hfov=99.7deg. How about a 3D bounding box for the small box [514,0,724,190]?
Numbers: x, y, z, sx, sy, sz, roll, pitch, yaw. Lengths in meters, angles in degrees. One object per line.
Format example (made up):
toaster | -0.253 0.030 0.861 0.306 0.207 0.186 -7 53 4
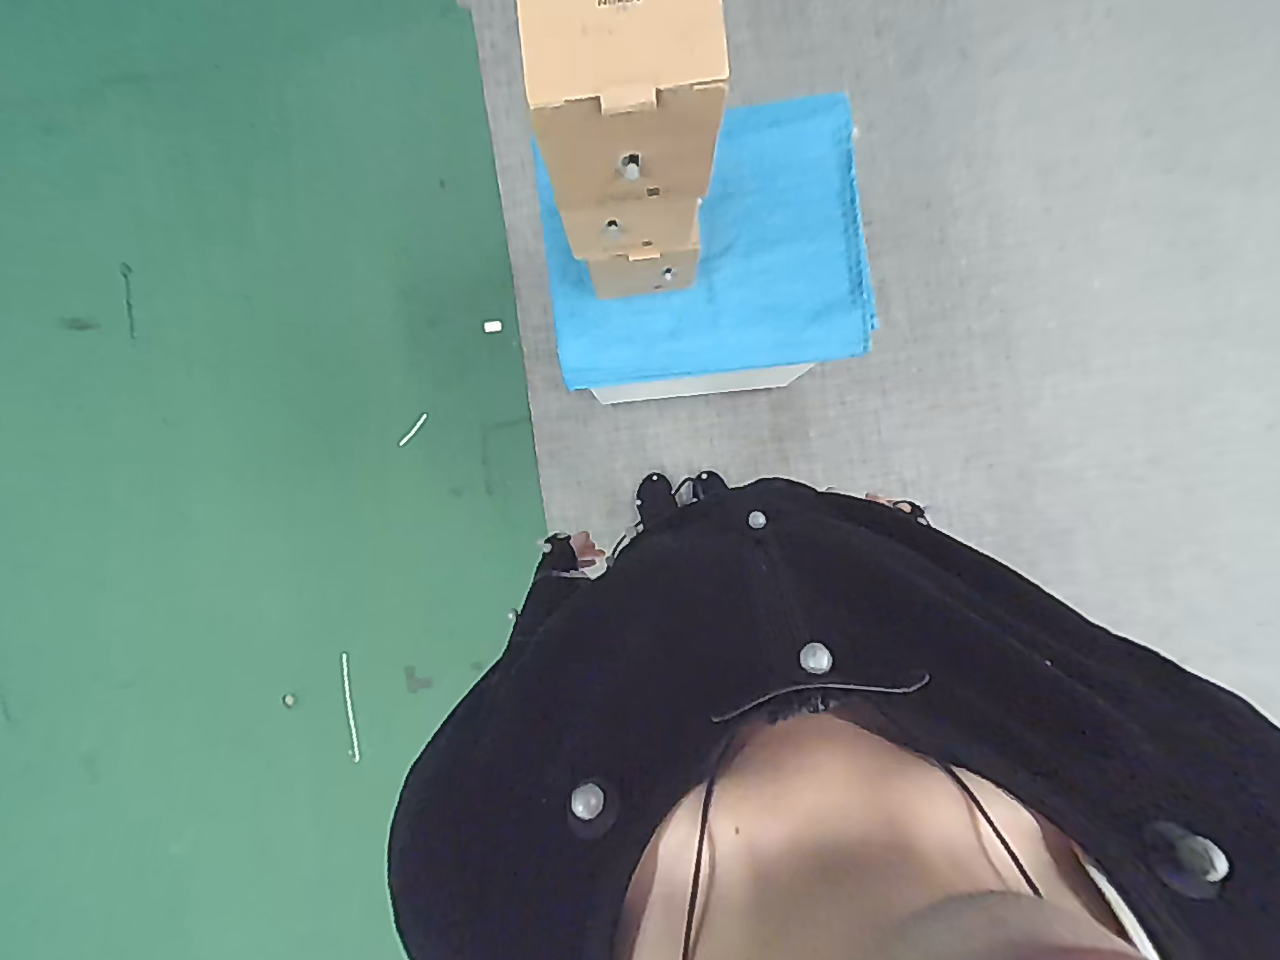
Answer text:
small box | -0.017 -0.394 0.504 0.168 0.176 0.179 -5 90 1

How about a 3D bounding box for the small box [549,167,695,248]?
small box | -0.020 -0.405 0.668 0.168 0.176 0.179 -4 89 1

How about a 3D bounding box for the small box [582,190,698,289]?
small box | -0.003 -0.406 0.830 0.168 0.176 0.179 -6 89 1
